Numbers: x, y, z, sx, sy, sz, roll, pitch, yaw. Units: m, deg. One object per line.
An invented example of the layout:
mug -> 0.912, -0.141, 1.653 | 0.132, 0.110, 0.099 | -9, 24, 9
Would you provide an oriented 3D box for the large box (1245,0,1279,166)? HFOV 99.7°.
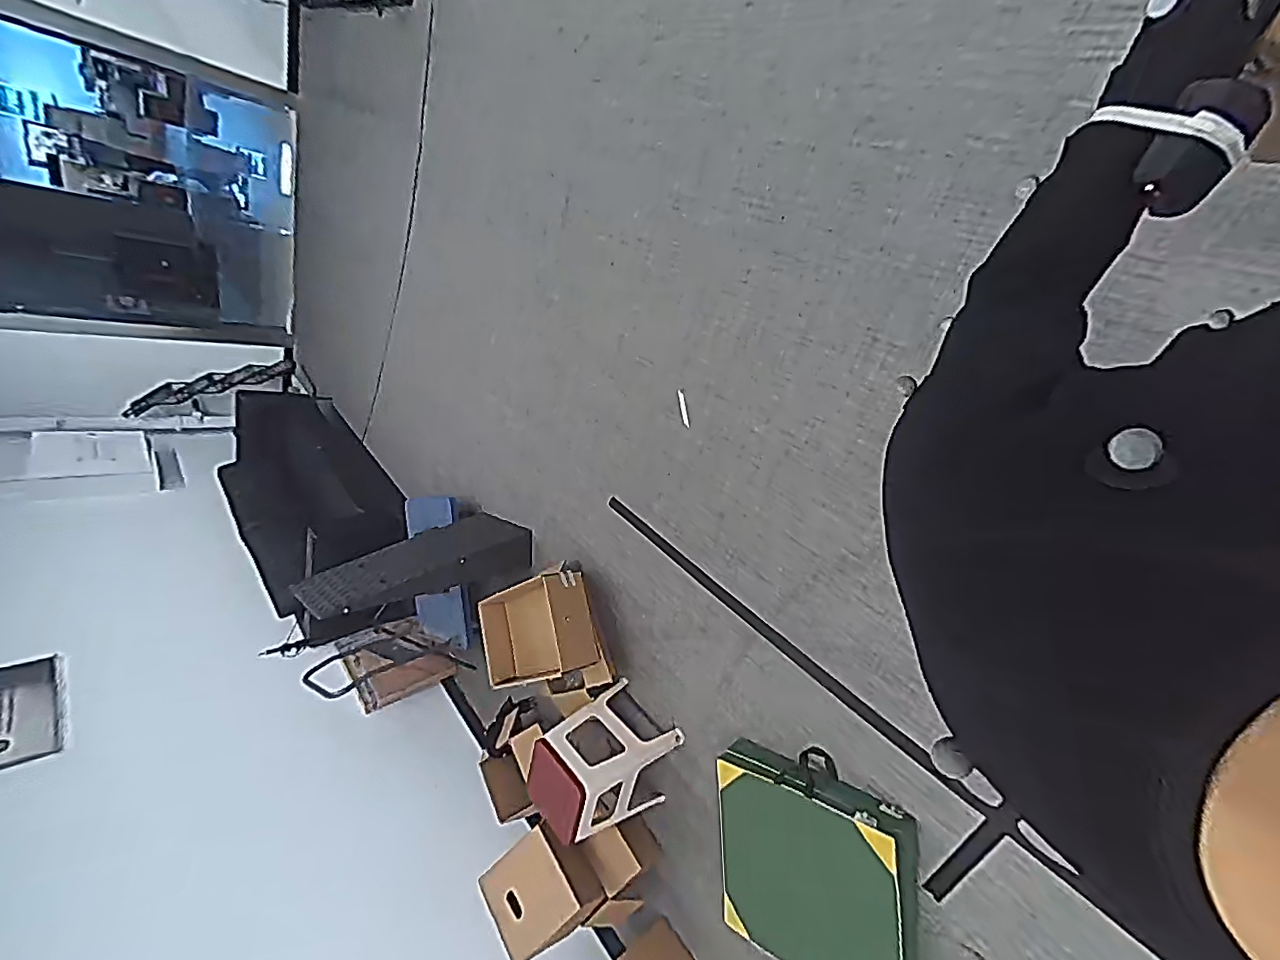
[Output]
large box -> 0.663, -0.351, 0.271 | 0.408, 0.320, 0.320 | 33, 125, 38
